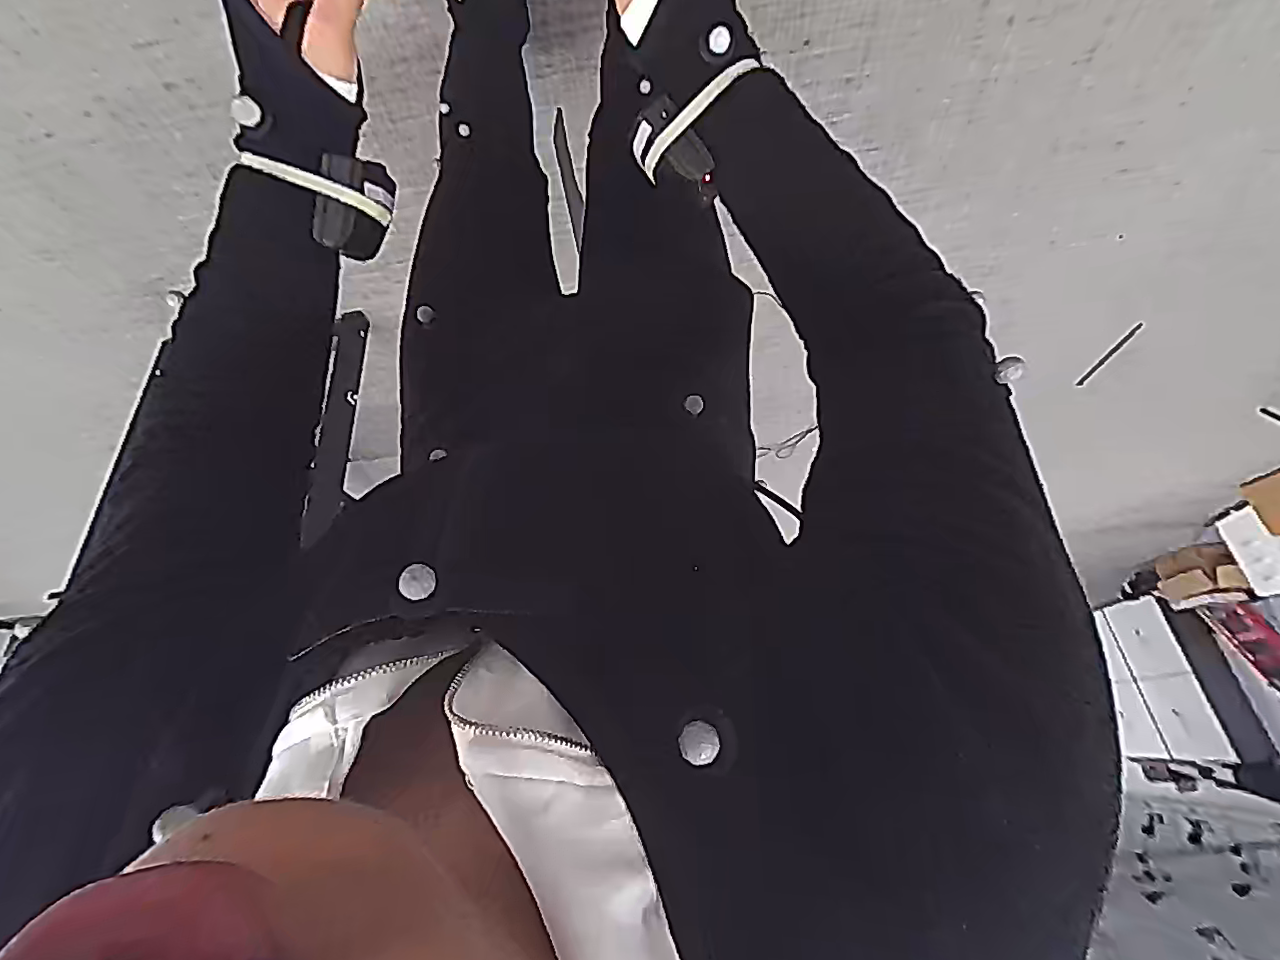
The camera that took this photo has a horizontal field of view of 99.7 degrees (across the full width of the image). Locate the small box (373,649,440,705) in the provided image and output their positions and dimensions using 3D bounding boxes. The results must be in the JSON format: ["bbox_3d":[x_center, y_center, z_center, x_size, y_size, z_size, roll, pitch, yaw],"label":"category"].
[{"bbox_3d":[-0.864,0.732,2.013,0.168,0.176,0.179,-8,153,3],"label":"small box"}]
